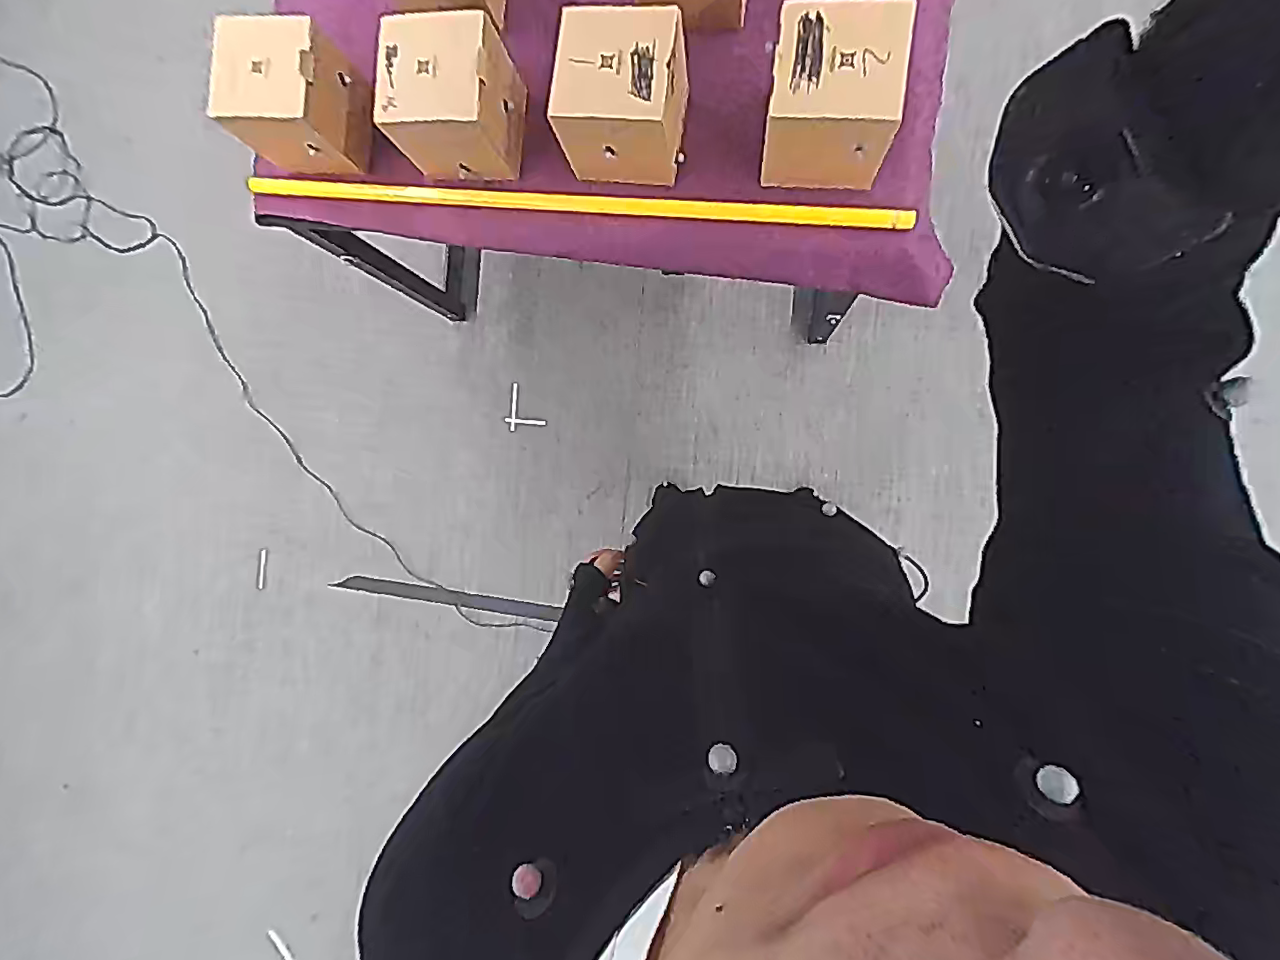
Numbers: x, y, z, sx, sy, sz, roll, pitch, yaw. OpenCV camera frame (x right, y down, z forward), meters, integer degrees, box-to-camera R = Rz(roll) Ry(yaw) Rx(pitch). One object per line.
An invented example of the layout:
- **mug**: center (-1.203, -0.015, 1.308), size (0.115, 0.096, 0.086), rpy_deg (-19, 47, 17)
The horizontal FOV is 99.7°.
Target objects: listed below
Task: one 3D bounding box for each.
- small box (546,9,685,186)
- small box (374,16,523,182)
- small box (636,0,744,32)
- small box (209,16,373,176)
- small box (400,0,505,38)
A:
- **small box**: center (-0.029, -0.594, 0.859), size (0.179, 0.176, 0.168), rpy_deg (9, 90, 10)
- **small box**: center (-0.309, -0.623, 0.903), size (0.179, 0.176, 0.168), rpy_deg (6, 91, 9)
- **small box**: center (0.084, -0.843, 0.841), size (0.179, 0.176, 0.168), rpy_deg (7, 92, 10)
- **small box**: center (-0.599, -0.660, 0.947), size (0.179, 0.176, 0.168), rpy_deg (6, 90, 7)
- **small box**: center (-0.331, -0.894, 0.906), size (0.168, 0.176, 0.179), rpy_deg (7, 93, 9)
